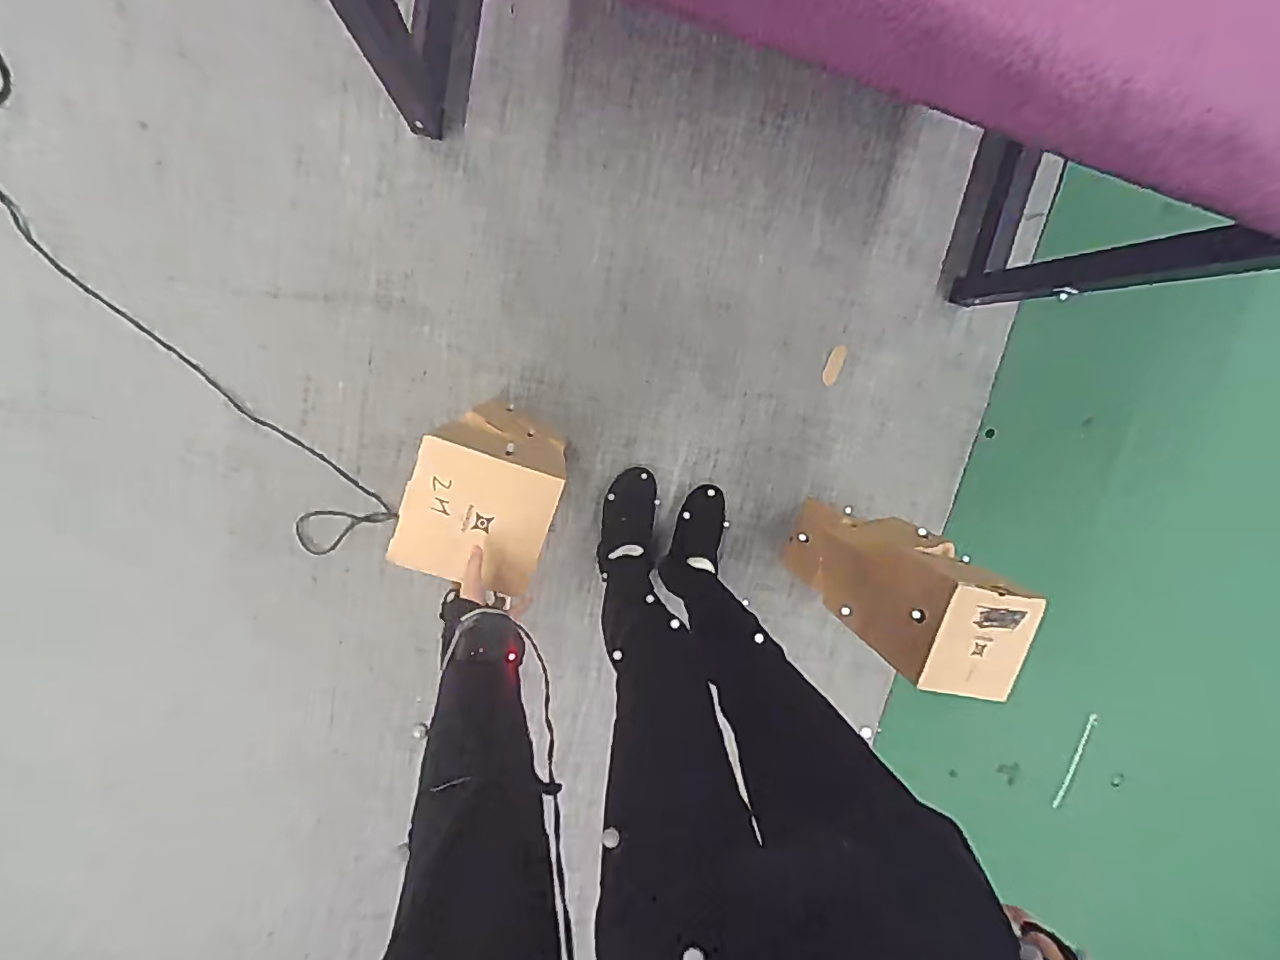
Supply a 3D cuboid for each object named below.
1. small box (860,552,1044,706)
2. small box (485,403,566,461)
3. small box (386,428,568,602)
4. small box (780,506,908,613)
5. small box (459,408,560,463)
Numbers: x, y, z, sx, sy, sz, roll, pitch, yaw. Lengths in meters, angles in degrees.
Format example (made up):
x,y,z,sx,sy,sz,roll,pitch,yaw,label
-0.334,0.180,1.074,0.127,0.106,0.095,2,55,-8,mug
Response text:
x,y,z,sx,sy,sz,roll,pitch,yaw,label
0.492,0.234,0.882,0.168,0.176,0.179,13,101,-12,small box
-0.256,-0.036,1.046,0.168,0.176,0.179,27,98,-13,small box
-0.207,0.037,0.731,0.179,0.176,0.168,20,97,-11,small box
0.441,0.171,1.200,0.179,0.176,0.168,22,98,-12,small box
-0.240,-0.002,0.889,0.168,0.176,0.179,33,95,-13,small box
